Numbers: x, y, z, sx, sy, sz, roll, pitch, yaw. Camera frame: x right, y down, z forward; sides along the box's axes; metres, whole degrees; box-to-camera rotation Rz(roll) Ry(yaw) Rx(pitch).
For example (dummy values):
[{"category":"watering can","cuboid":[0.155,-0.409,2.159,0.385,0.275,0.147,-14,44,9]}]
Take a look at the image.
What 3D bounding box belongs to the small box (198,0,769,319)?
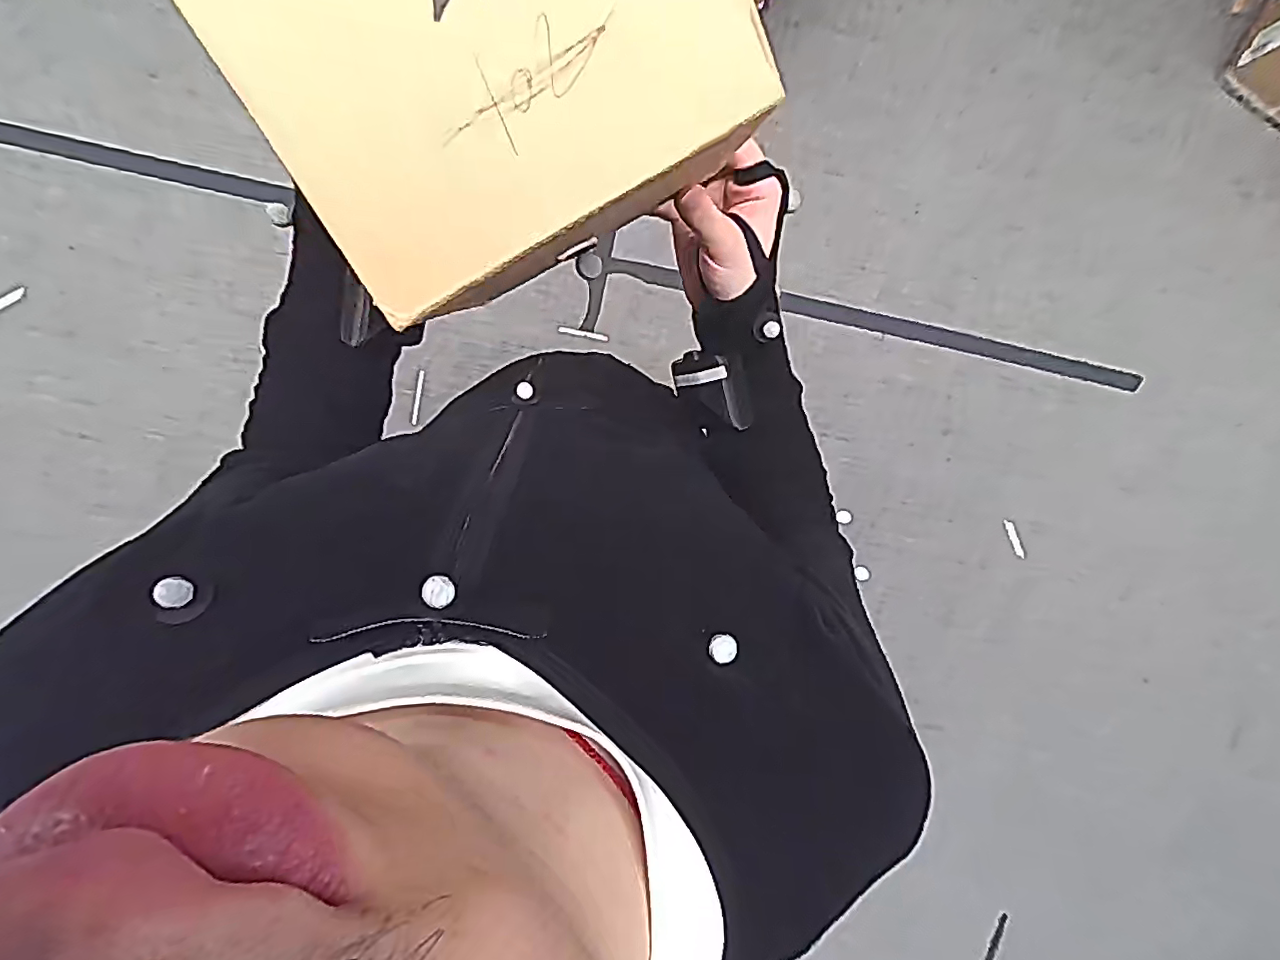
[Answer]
[{"category":"small box","cuboid":[-0.063,-0.198,0.257,0.168,0.176,0.179,-26,110,10]}]
